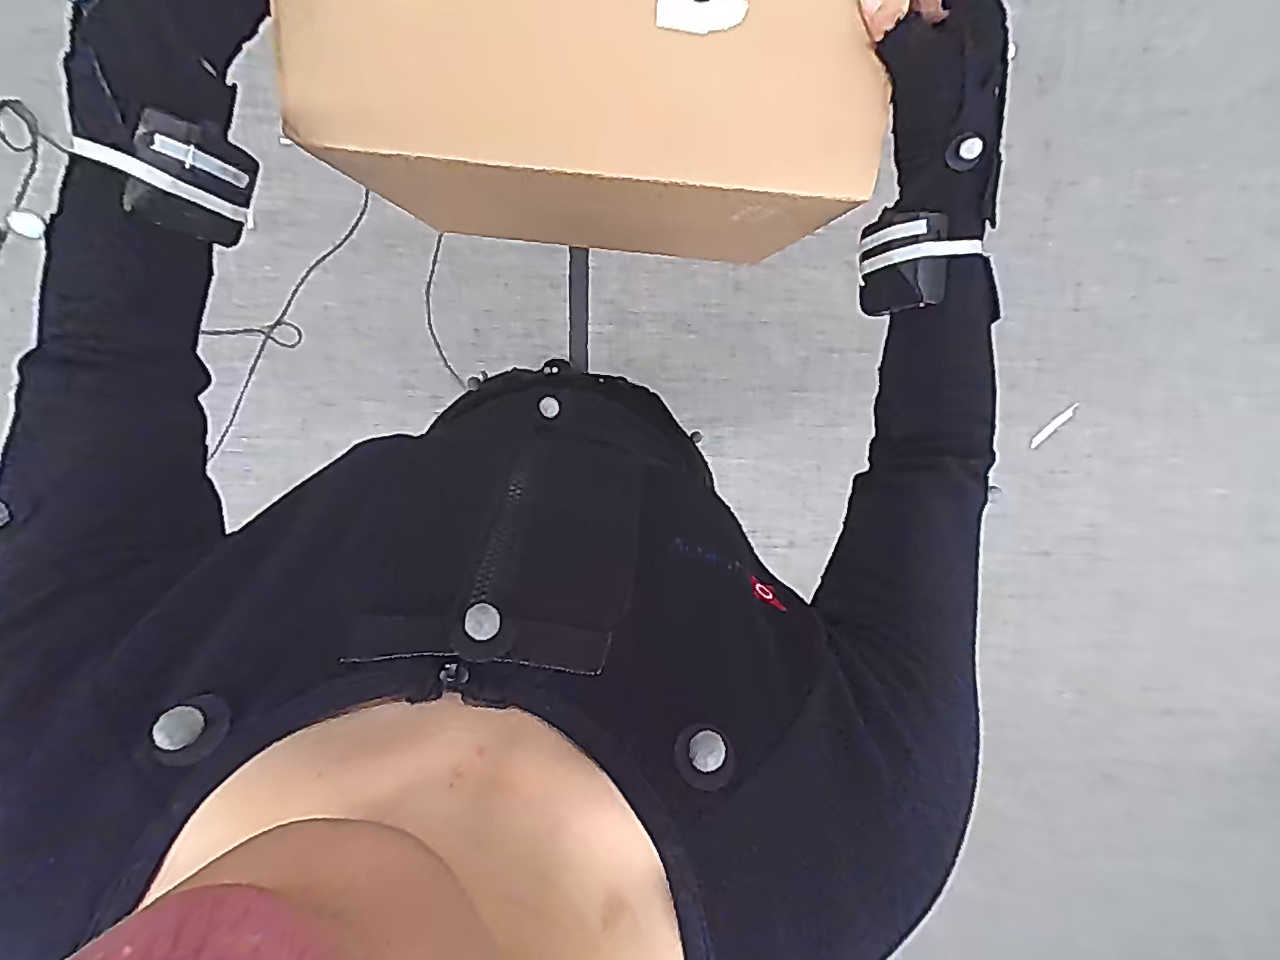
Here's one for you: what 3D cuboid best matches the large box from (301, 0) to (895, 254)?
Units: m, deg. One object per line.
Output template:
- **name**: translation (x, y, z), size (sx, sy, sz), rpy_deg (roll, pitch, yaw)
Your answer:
- **large box**: translation (-0.029, -0.407, 0.493), size (0.408, 0.320, 0.320), rpy_deg (4, 105, -4)
